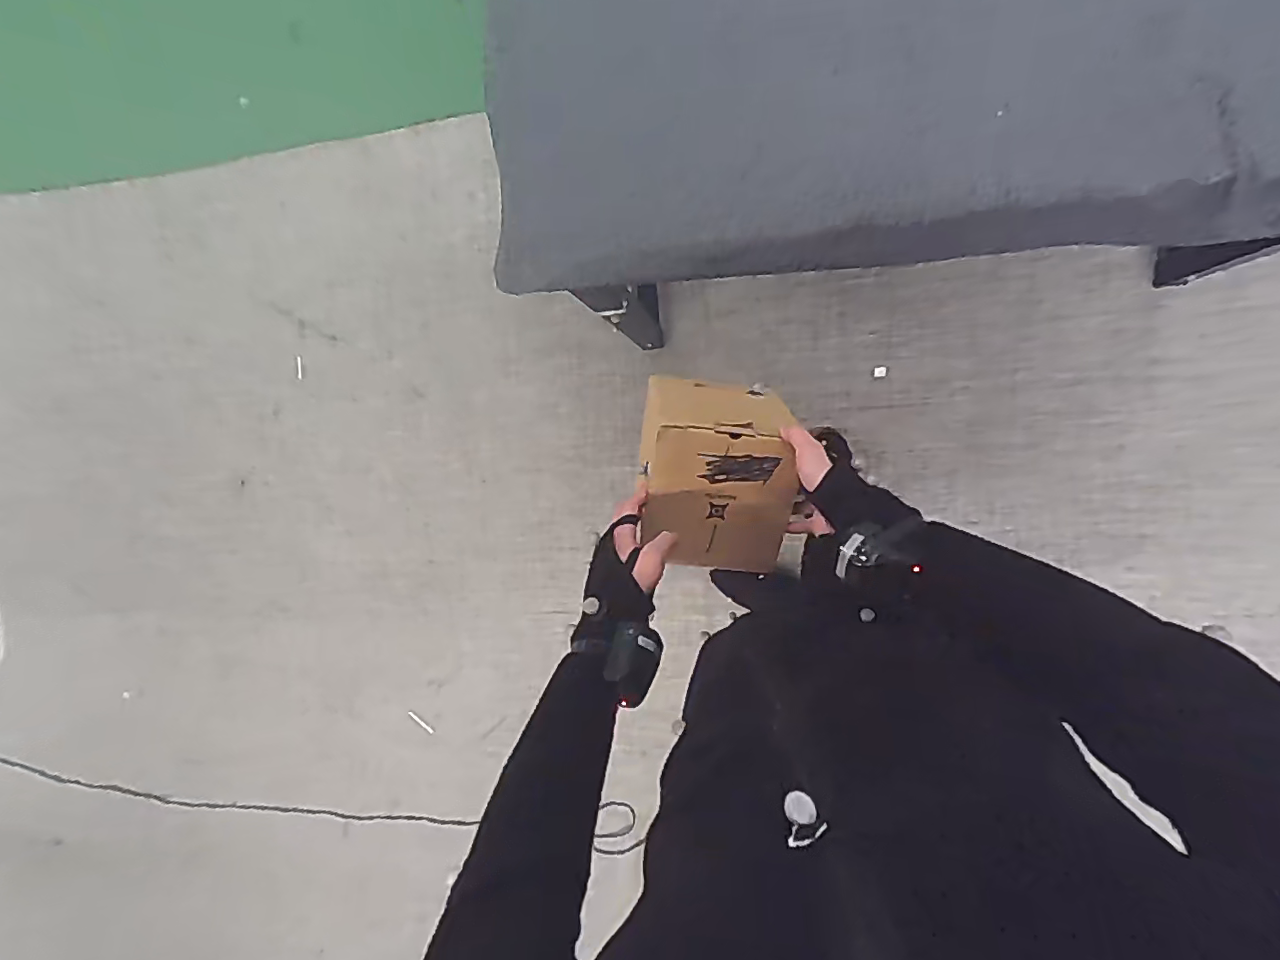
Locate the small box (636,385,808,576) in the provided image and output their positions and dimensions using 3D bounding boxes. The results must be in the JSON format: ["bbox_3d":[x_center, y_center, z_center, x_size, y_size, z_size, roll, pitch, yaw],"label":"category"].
[{"bbox_3d":[0.085,-0.008,0.666,0.168,0.176,0.179,6,117,-3],"label":"small box"}]
